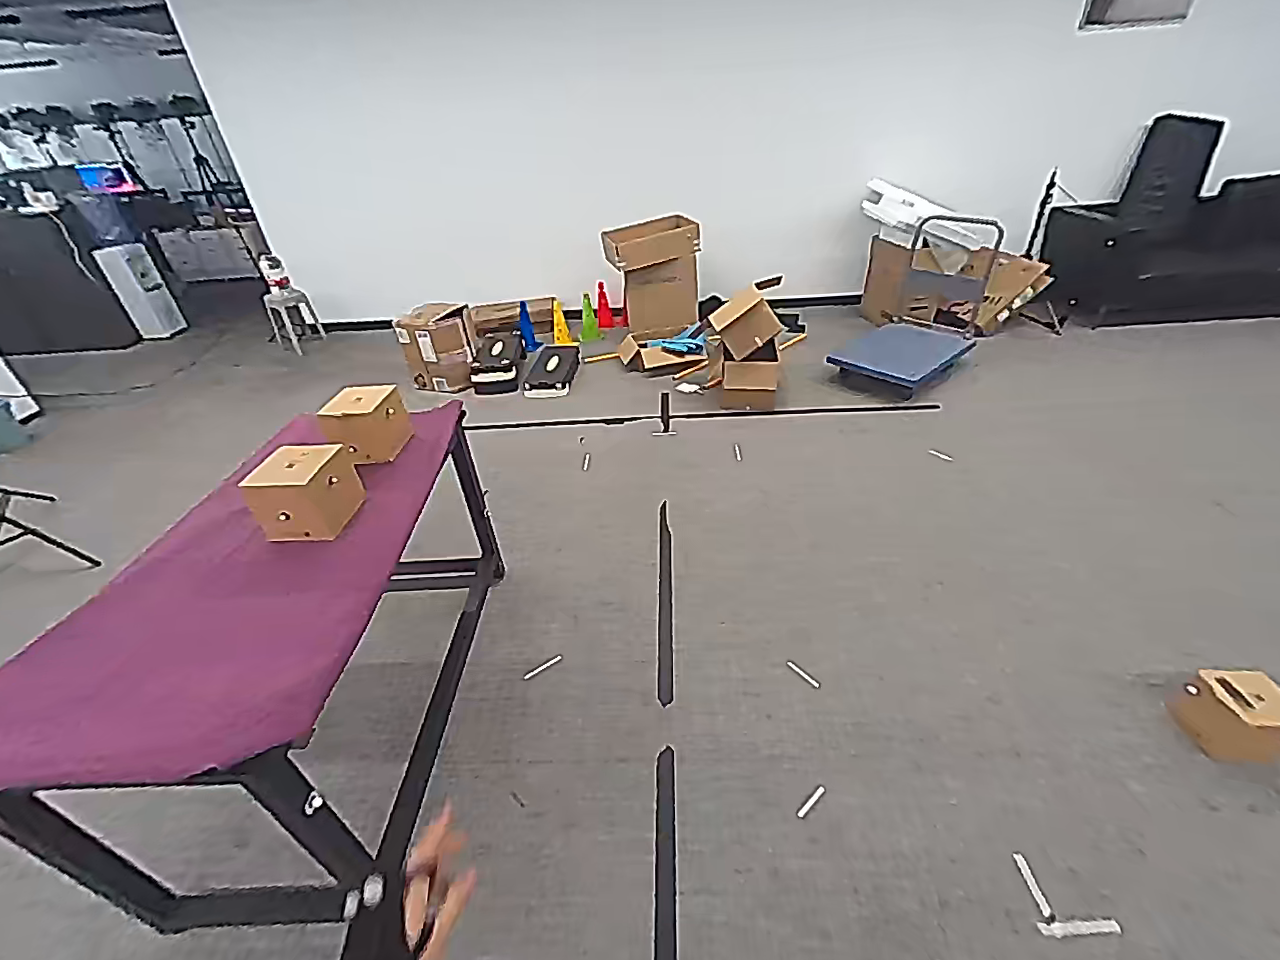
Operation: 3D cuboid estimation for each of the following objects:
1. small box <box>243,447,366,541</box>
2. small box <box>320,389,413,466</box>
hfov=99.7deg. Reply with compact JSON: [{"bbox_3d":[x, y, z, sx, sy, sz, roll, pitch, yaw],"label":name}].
[{"bbox_3d":[-0.805,0.036,1.324,0.168,0.176,0.179,-1,34,5],"label":"small box"},{"bbox_3d":[-0.795,-0.155,1.600,0.168,0.176,0.179,-2,36,6],"label":"small box"}]
